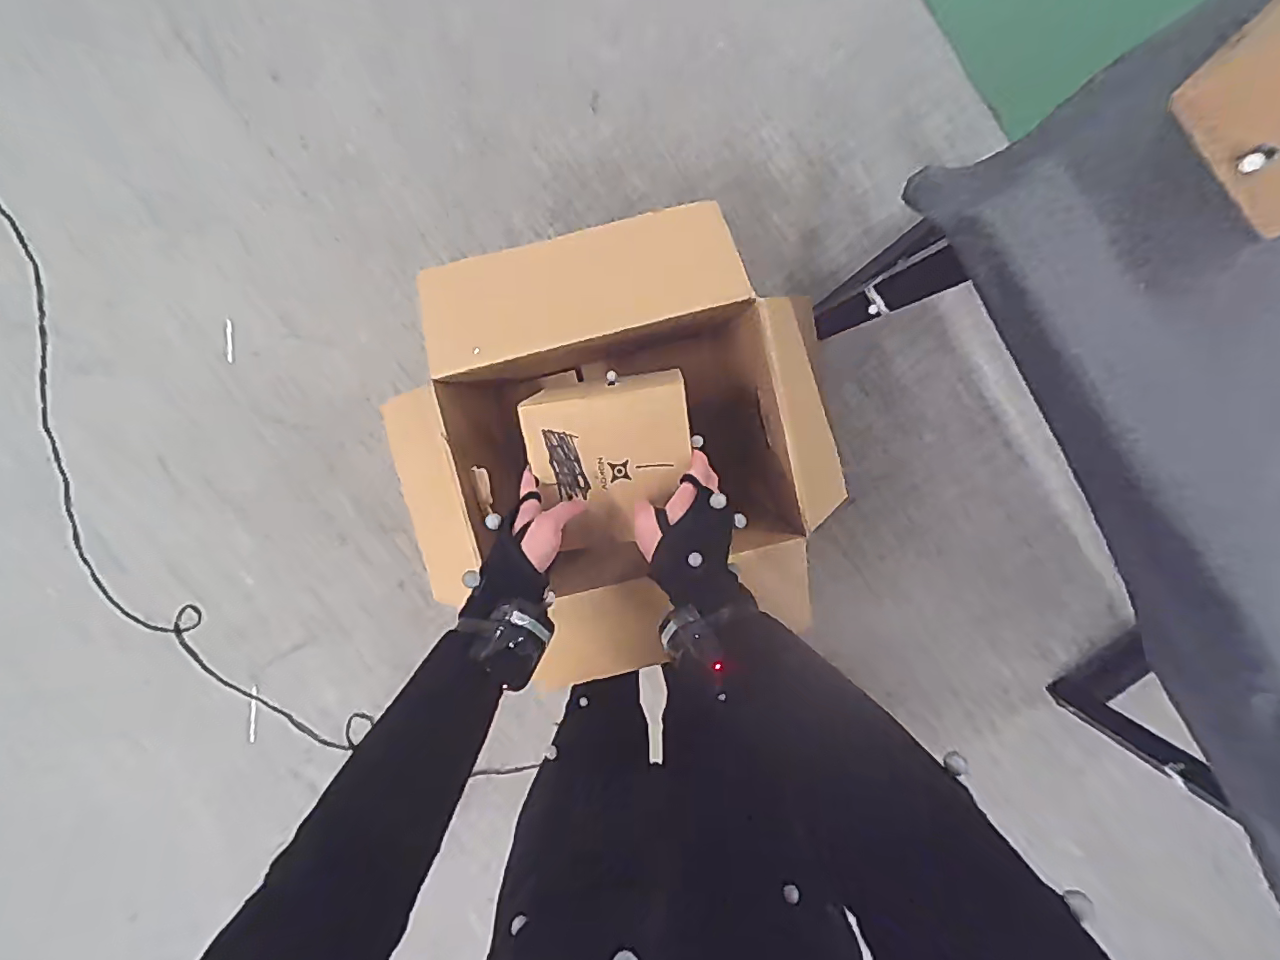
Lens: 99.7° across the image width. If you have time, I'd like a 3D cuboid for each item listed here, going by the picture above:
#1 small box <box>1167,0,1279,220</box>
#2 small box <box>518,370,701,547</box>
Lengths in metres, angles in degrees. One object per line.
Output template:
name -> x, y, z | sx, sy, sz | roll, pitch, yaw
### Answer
small box -> 0.621, -0.348, 0.448 | 0.168, 0.176, 0.179 | -43, 97, 3
small box -> -0.025, -0.034, 0.642 | 0.179, 0.176, 0.168 | -7, 106, 4
